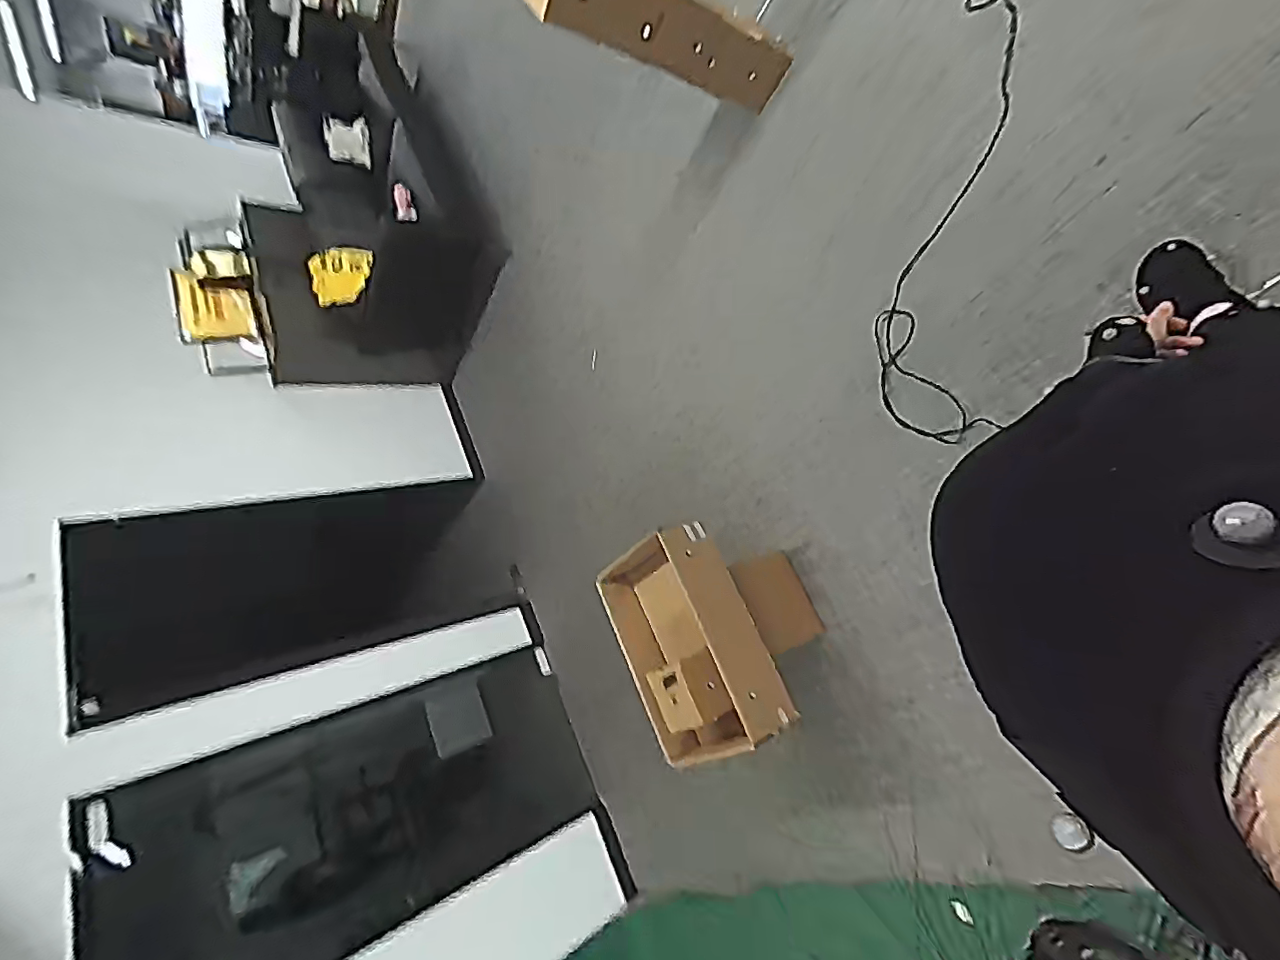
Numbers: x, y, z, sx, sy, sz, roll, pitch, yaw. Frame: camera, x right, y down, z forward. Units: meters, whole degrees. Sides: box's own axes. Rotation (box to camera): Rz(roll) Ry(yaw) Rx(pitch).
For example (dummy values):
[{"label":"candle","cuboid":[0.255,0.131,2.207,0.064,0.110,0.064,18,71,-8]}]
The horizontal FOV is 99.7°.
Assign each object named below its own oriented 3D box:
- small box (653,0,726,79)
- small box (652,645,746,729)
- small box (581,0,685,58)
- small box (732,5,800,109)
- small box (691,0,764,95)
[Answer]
[{"label":"small box","cuboid":[0.110,-1.252,1.477,0.179,0.176,0.168,-50,59,43]},{"label":"small box","cuboid":[0.170,0.590,1.559,0.168,0.176,0.179,-43,63,45]},{"label":"small box","cuboid":[-0.018,-1.227,1.378,0.168,0.176,0.179,-50,60,44]},{"label":"small box","cuboid":[0.360,-1.305,1.681,0.179,0.176,0.168,-47,60,44]},{"label":"small box","cuboid":[0.228,-1.281,1.586,0.179,0.176,0.168,-47,62,44]}]
